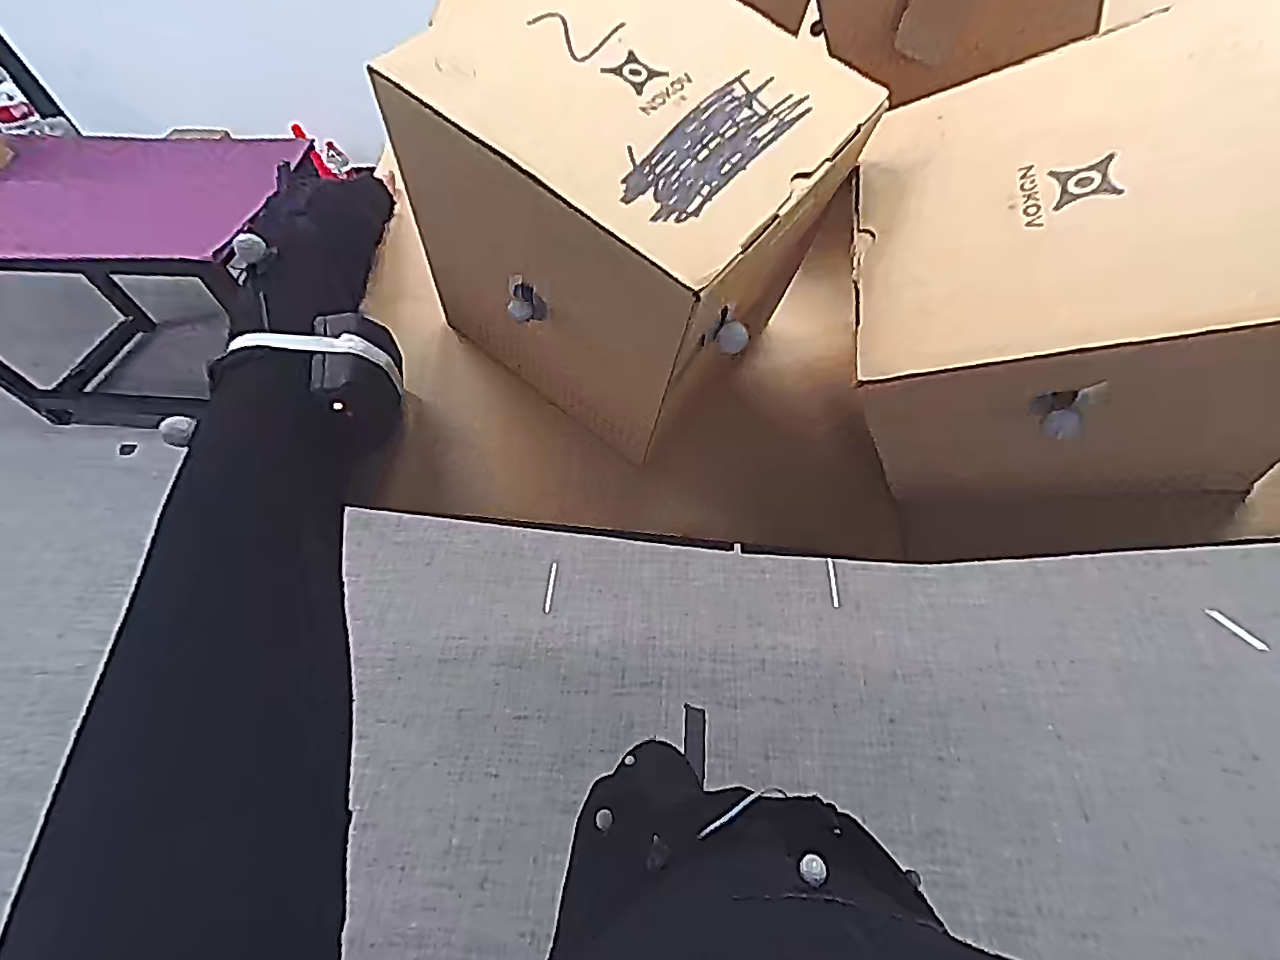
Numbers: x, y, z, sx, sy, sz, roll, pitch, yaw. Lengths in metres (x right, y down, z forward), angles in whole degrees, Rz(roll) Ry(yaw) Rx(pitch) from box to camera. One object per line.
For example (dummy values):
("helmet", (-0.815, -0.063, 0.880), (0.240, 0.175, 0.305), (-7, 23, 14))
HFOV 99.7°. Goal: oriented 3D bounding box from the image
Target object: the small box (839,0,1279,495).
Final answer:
("small box", (0.219, -0.097, 0.303), (0.179, 0.176, 0.168), (-5, 66, 31))
